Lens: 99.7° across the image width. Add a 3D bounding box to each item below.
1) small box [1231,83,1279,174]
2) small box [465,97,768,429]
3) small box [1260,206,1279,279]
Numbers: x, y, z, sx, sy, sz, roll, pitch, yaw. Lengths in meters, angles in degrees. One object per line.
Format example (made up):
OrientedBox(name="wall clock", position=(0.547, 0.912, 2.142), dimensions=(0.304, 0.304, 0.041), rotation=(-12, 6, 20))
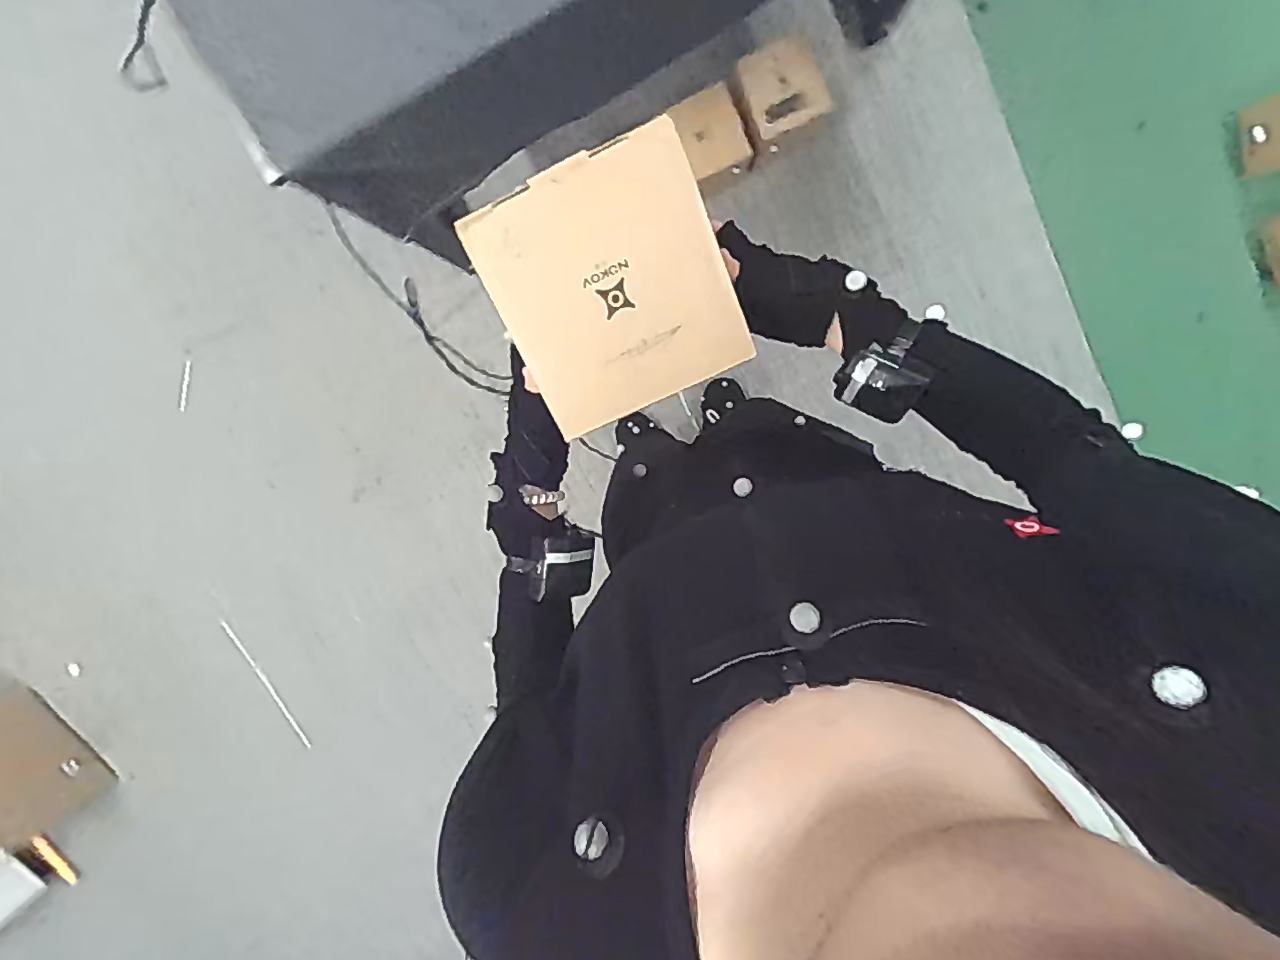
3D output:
OrientedBox(name="small box", position=(1.512, -0.826, 1.216), dimensions=(0.179, 0.176, 0.168), rotation=(-16, 98, 6))
OrientedBox(name="small box", position=(-0.016, -0.169, 0.453), dimensions=(0.168, 0.176, 0.179), rotation=(-23, 111, 6))
OrientedBox(name="small box", position=(1.615, -0.591, 1.252), dimensions=(0.179, 0.176, 0.168), rotation=(-29, 99, 6))
